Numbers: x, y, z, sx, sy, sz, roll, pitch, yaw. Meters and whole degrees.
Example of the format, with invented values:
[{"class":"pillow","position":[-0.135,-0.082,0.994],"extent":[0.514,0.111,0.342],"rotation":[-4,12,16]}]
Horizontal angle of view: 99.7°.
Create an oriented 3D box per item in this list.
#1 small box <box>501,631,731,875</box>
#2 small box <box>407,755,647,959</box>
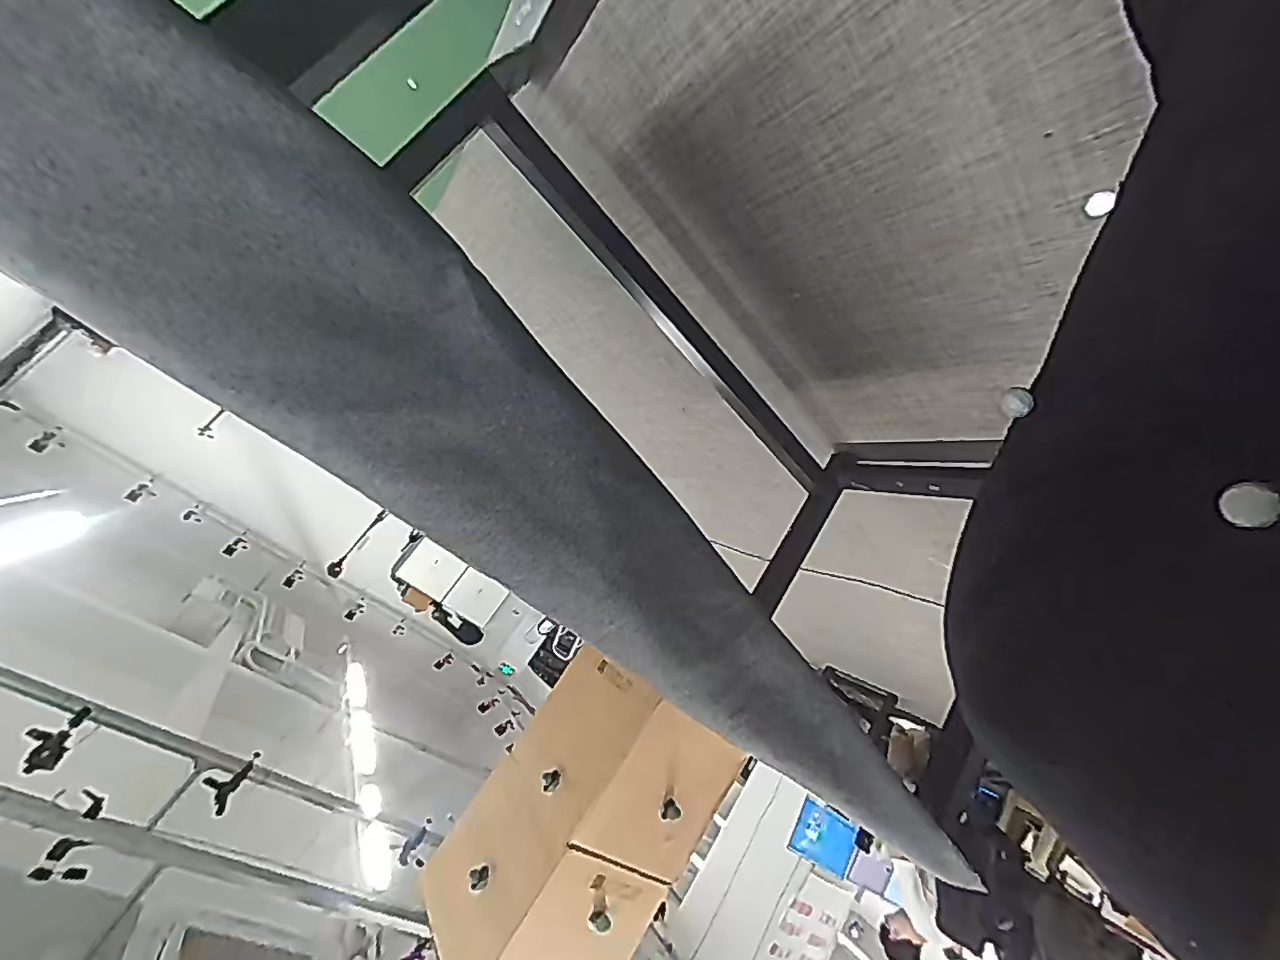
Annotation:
[{"class":"small box","position":[-0.025,0.312,0.642],"extent":[0.179,0.176,0.168],"rotation":[44,163,-29]},{"class":"small box","position":[-0.124,0.439,0.605],"extent":[0.168,0.176,0.179],"rotation":[45,162,-30]}]
